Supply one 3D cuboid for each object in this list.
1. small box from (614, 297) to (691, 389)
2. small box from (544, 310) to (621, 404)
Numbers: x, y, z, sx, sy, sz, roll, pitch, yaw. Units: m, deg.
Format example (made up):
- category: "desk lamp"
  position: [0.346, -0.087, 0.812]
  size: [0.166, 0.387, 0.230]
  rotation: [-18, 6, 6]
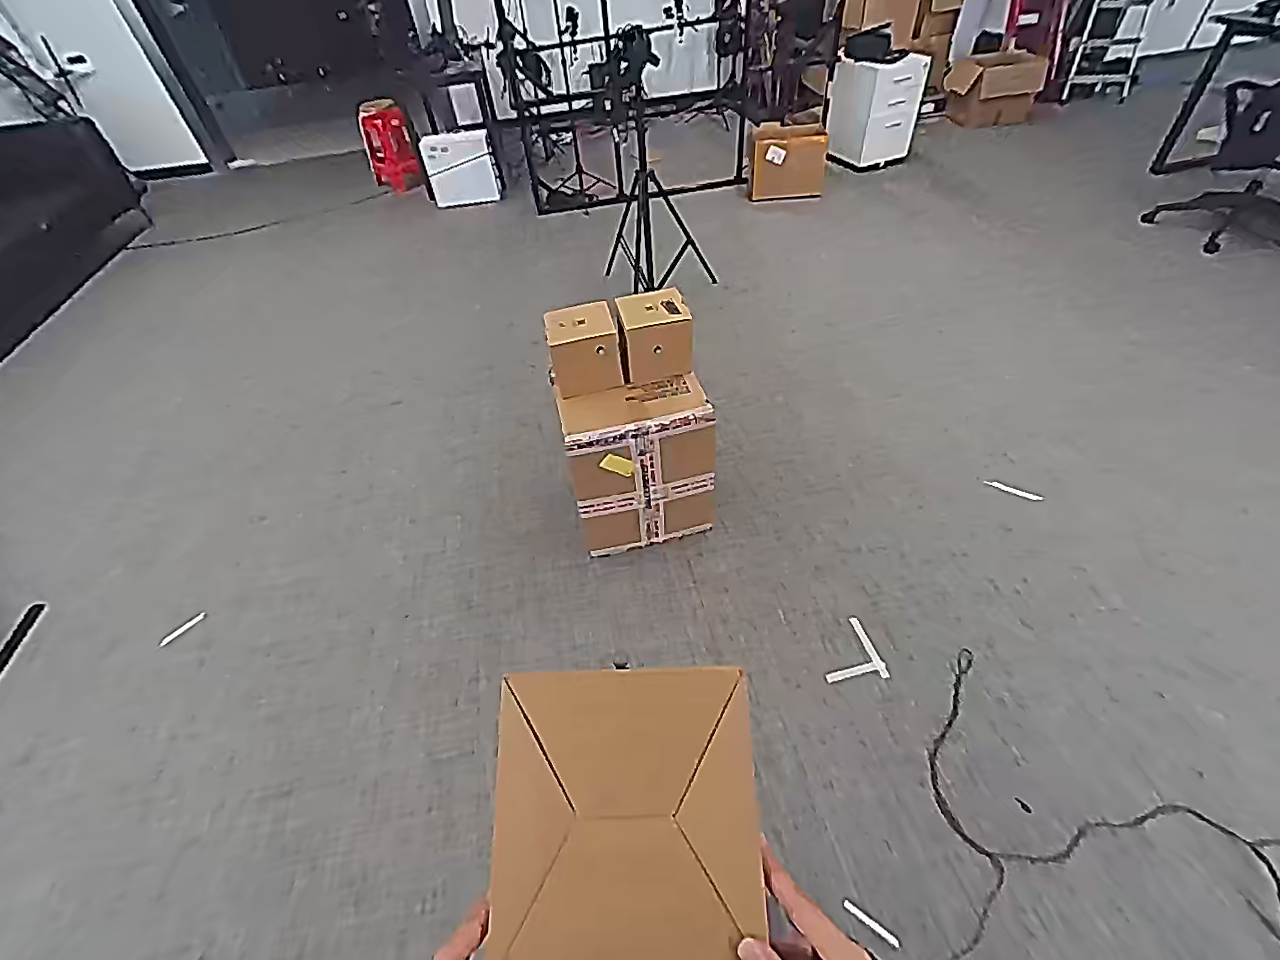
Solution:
- category: "small box"
  position: [0.034, -0.373, 1.480]
  size: [0.179, 0.176, 0.168]
  rotation: [-12, 47, -6]
- category: "small box"
  position: [-0.150, -0.330, 1.459]
  size: [0.179, 0.176, 0.168]
  rotation: [-13, 47, -3]
